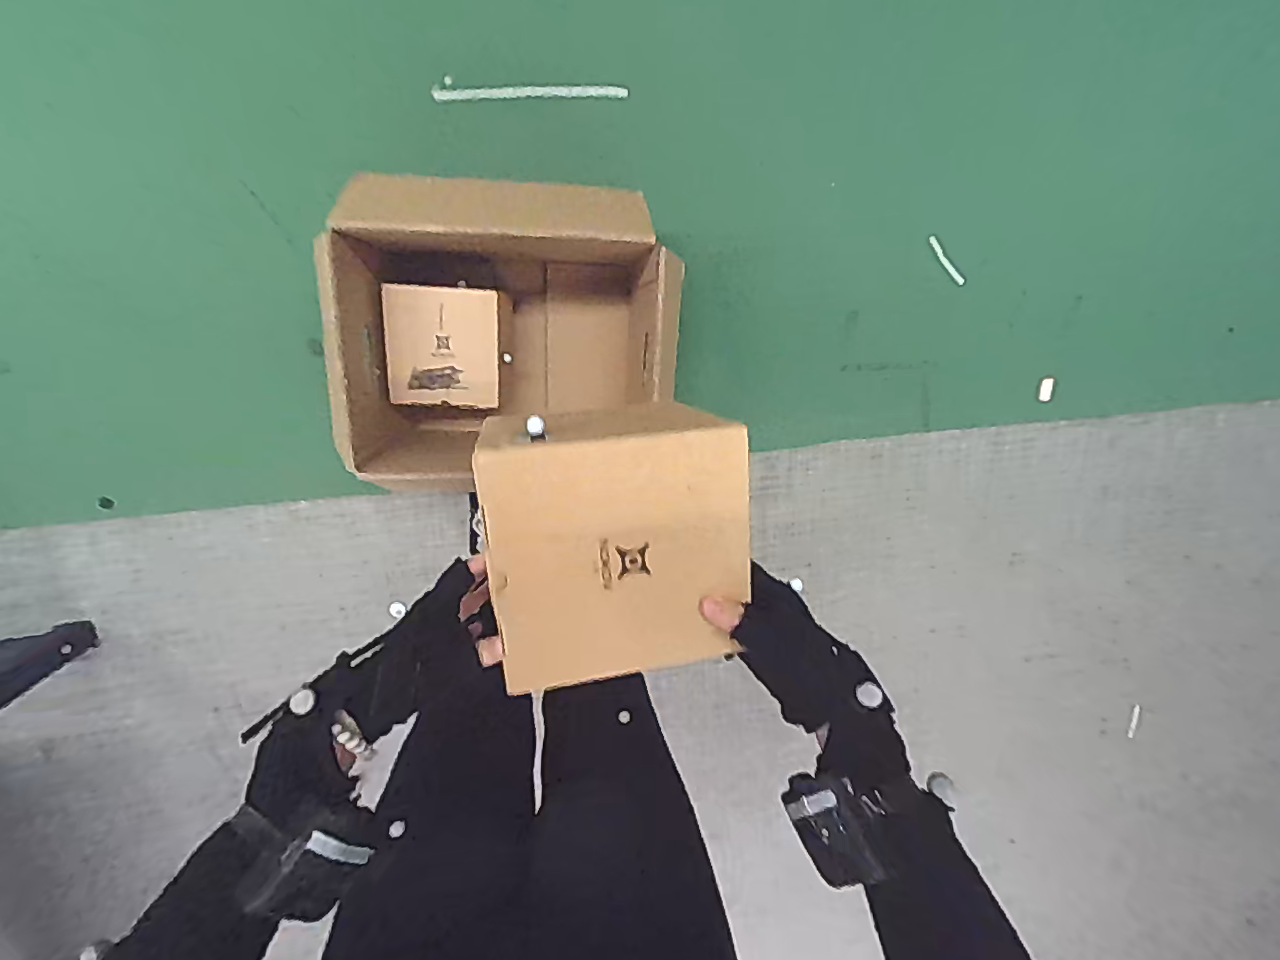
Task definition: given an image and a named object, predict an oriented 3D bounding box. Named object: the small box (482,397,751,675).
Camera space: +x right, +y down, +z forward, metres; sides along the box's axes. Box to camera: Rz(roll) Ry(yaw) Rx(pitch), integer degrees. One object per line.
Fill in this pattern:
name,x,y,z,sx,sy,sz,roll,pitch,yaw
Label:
small box,-0.025,0.026,0.439,0.179,0.176,0.168,-7,104,-11
